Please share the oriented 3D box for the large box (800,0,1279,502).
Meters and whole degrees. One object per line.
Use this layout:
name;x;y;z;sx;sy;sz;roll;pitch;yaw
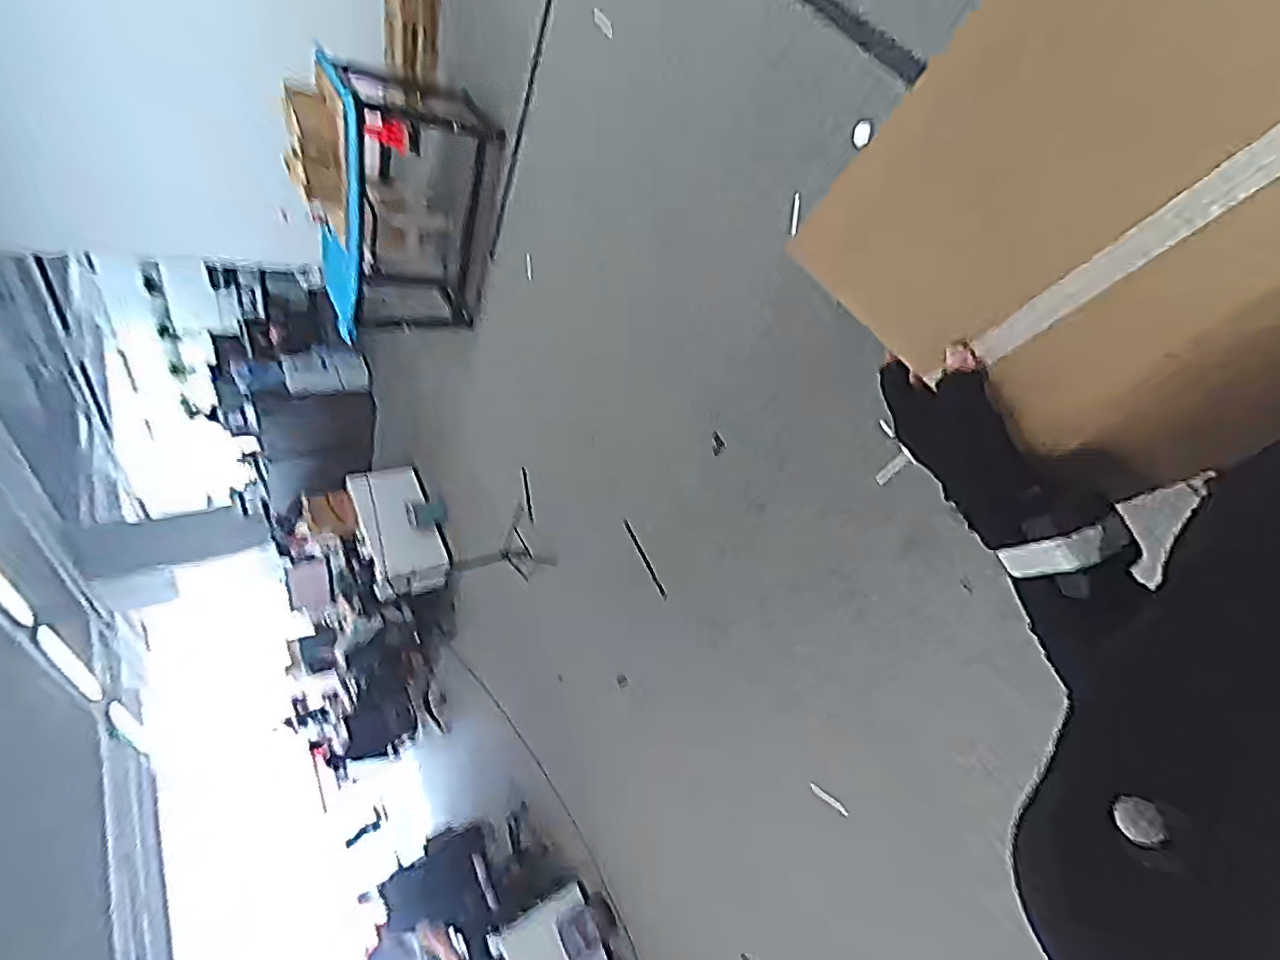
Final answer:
large box;0.394;-0.258;0.367;0.320;0.320;0.408;41;142;-2
